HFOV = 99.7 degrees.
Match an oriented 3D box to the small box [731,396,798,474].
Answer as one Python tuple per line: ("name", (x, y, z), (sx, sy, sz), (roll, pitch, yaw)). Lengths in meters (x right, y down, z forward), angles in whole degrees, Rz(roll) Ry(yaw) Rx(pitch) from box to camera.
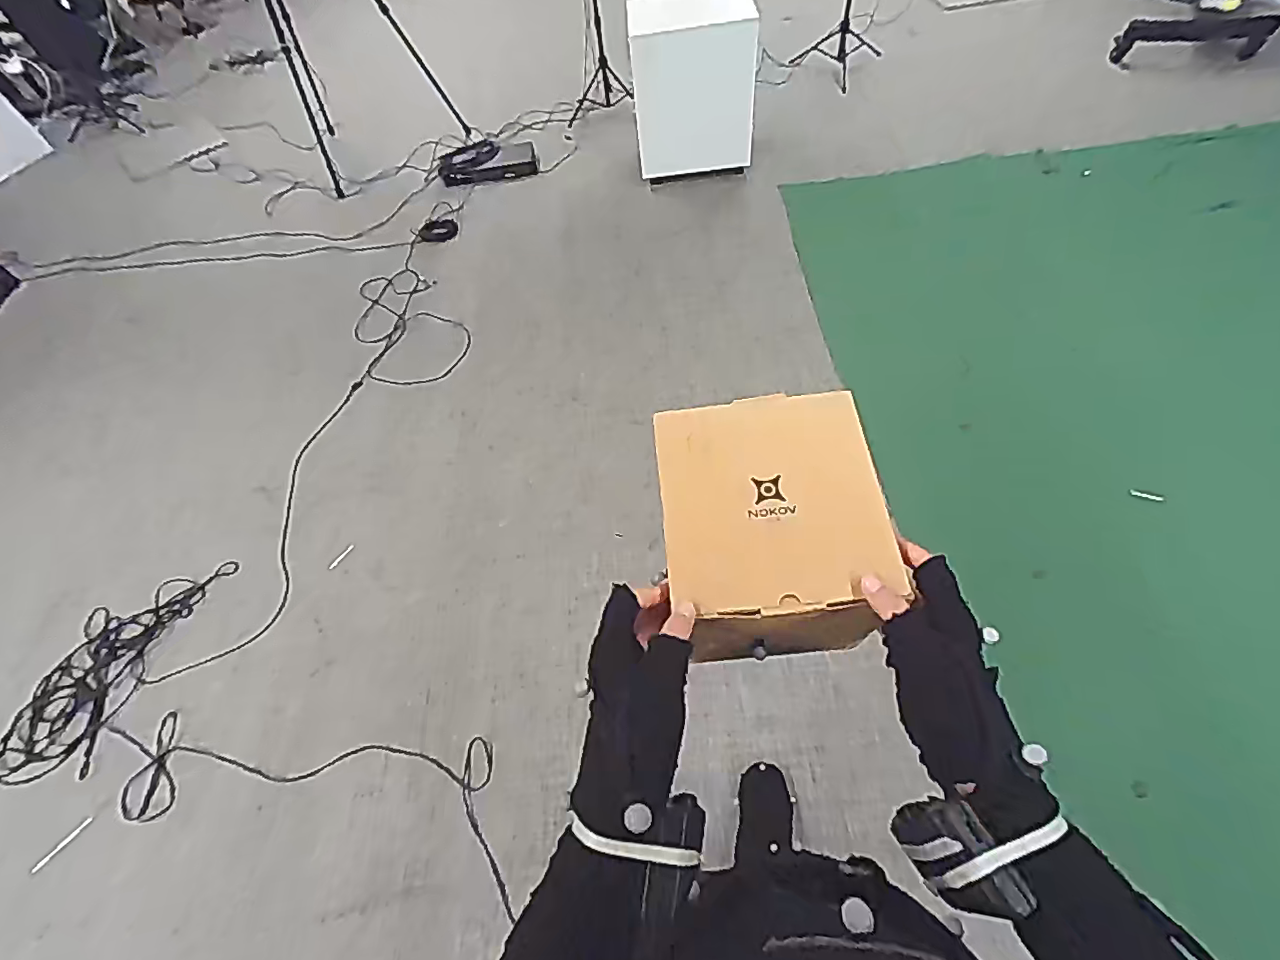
("small box", (0.377, -0.131, 1.664), (0.168, 0.176, 0.179), (-8, 57, 2))
